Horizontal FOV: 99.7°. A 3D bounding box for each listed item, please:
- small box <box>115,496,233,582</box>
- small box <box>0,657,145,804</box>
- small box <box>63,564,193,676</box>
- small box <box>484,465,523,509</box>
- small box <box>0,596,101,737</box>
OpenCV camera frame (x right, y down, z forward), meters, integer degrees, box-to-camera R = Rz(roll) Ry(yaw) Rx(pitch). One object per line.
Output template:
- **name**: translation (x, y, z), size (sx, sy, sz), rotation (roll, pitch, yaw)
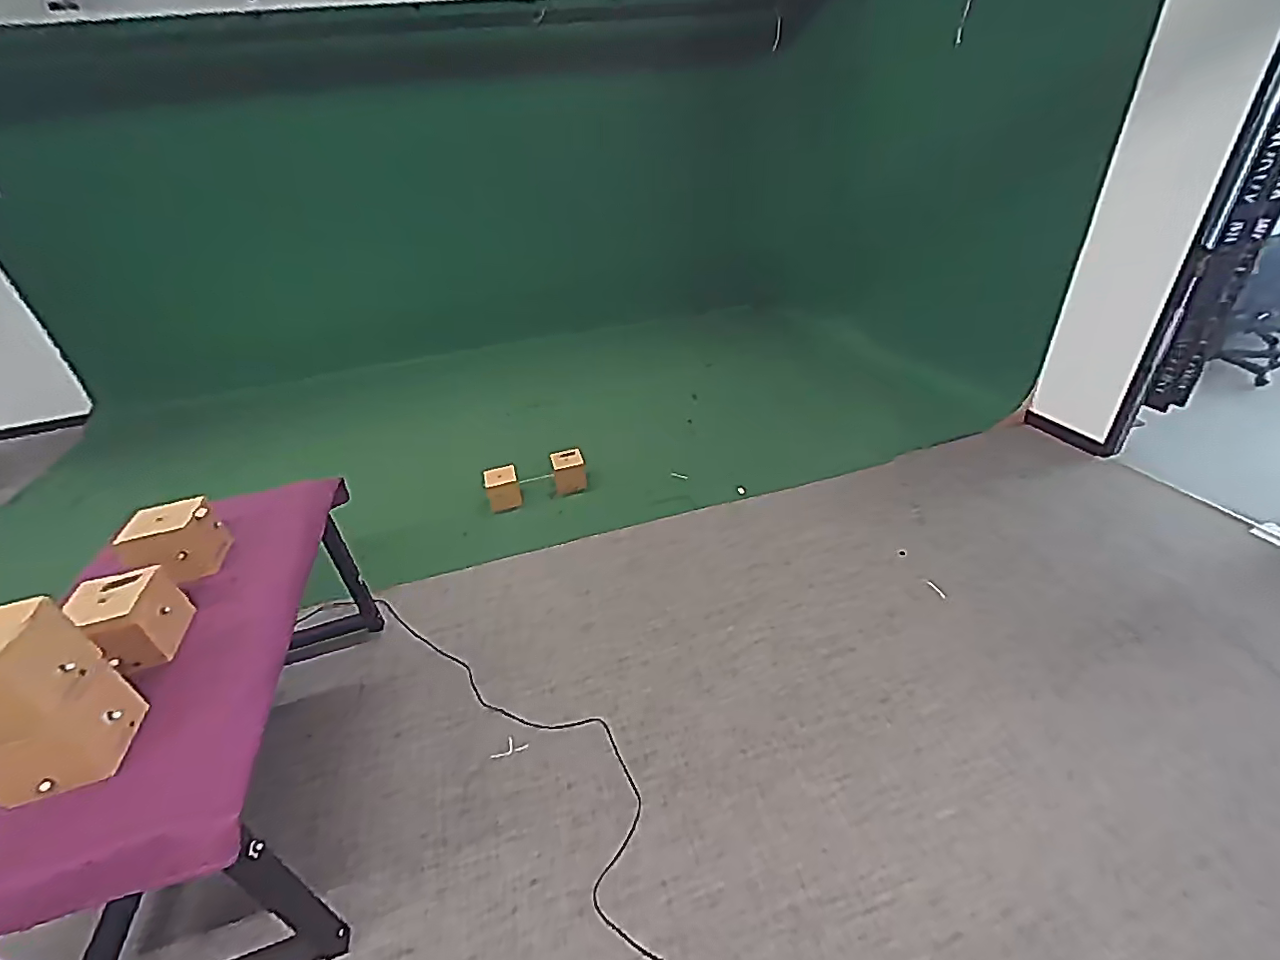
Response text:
- **small box**: translation (-1.307, 0.174, 1.536), size (0.179, 0.176, 0.168), rotation (-14, 34, -12)
- **small box**: translation (-1.120, 0.479, 1.040), size (0.179, 0.176, 0.168), rotation (-14, 33, -13)
- **small box**: translation (-1.208, 0.333, 1.276), size (0.168, 0.176, 0.179), rotation (-15, 35, -13)
- **small box**: translation (-0.747, 0.046, 2.962), size (0.168, 0.176, 0.179), rotation (-14, 33, -12)
- **small box**: translation (-1.133, 0.340, 0.952), size (0.179, 0.176, 0.168), rotation (-14, 35, -13)
